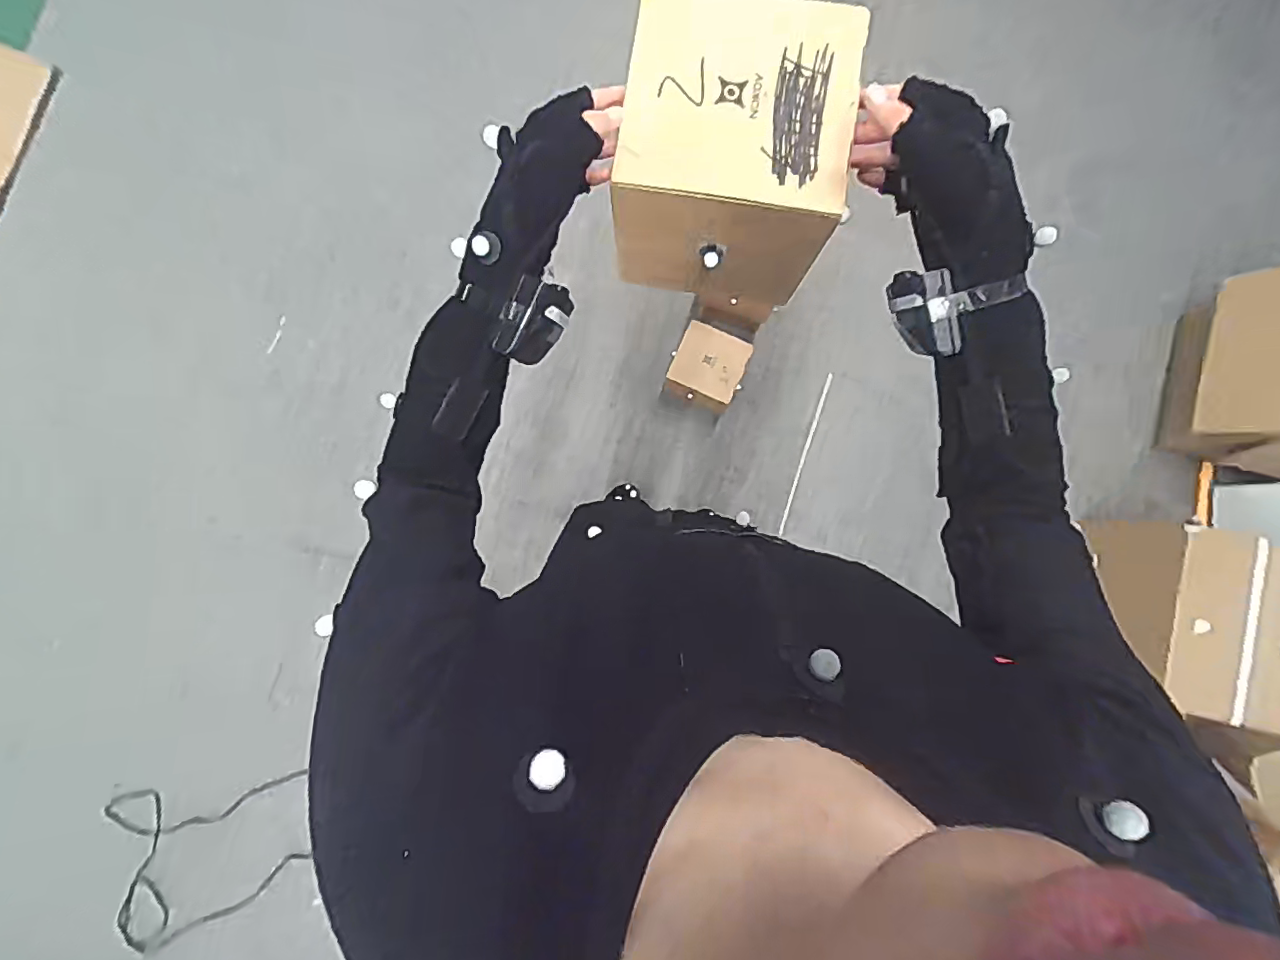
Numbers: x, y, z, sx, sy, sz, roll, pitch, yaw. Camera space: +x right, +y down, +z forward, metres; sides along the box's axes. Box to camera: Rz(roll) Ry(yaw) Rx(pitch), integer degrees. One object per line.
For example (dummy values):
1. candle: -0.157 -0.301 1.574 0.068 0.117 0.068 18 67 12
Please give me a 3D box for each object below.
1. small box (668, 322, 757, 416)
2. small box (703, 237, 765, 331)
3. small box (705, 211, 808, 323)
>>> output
1. small box: 0.183 -0.283 1.427 0.179 0.176 0.168 25 87 2
2. small box: 0.273 -0.514 1.441 0.179 0.176 0.168 14 87 1
3. small box: 0.266 -0.491 1.275 0.179 0.176 0.168 21 87 2
